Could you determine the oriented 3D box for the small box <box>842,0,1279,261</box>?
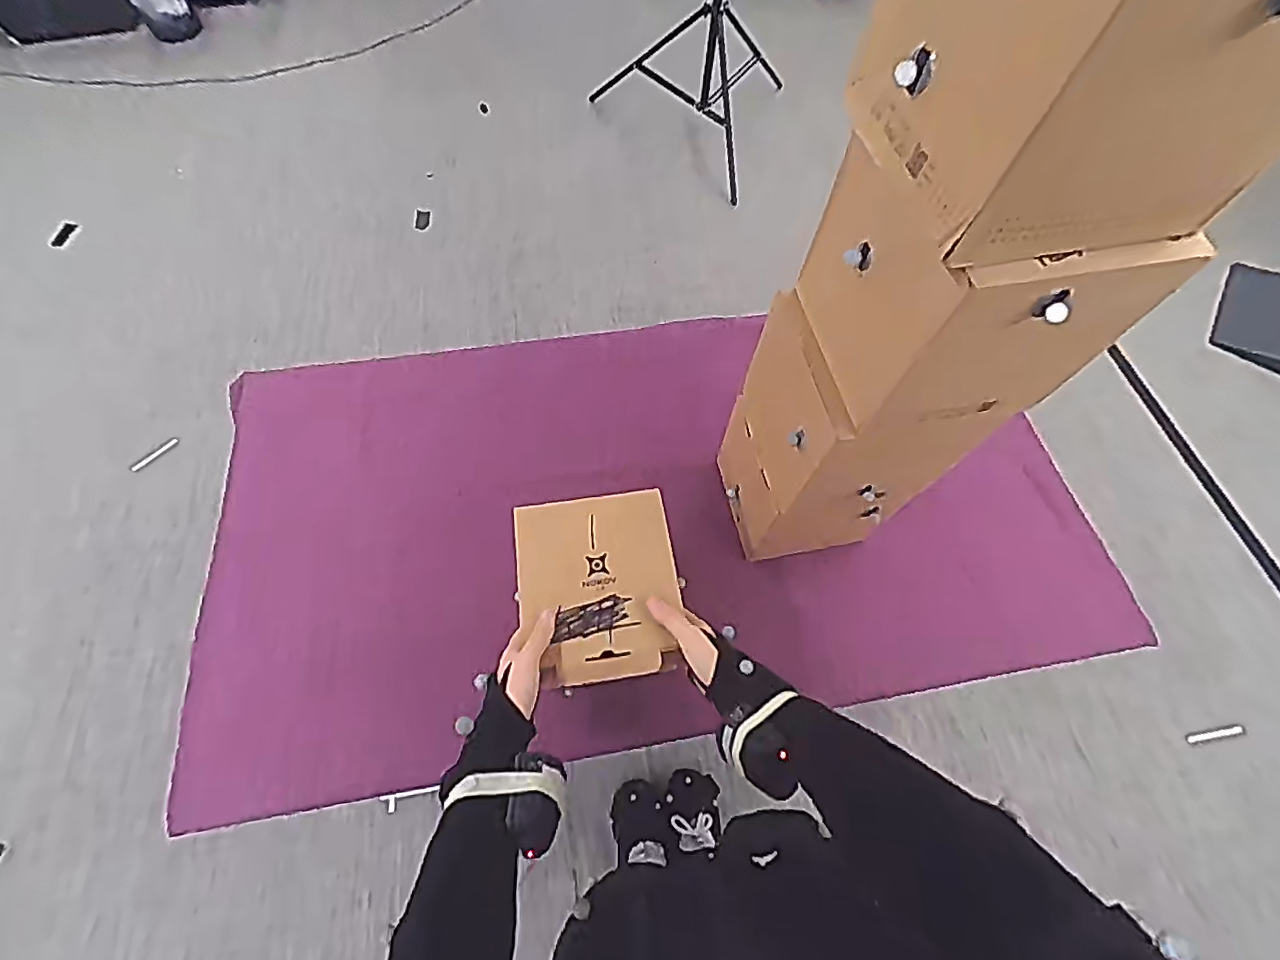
[{"bbox_3d":[0.239,-0.243,0.282,0.179,0.176,0.168,-10,65,-6],"label":"small box"}]

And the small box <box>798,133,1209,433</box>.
[{"bbox_3d":[0.244,-0.161,0.424,0.168,0.176,0.179,-10,64,-6],"label":"small box"}]

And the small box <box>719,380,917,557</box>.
[{"bbox_3d":[0.217,-0.011,0.714,0.179,0.176,0.168,-10,63,-5],"label":"small box"}]

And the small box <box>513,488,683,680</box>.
[{"bbox_3d":[-0.048,0.131,0.635,0.168,0.176,0.179,-8,63,-5],"label":"small box"}]
